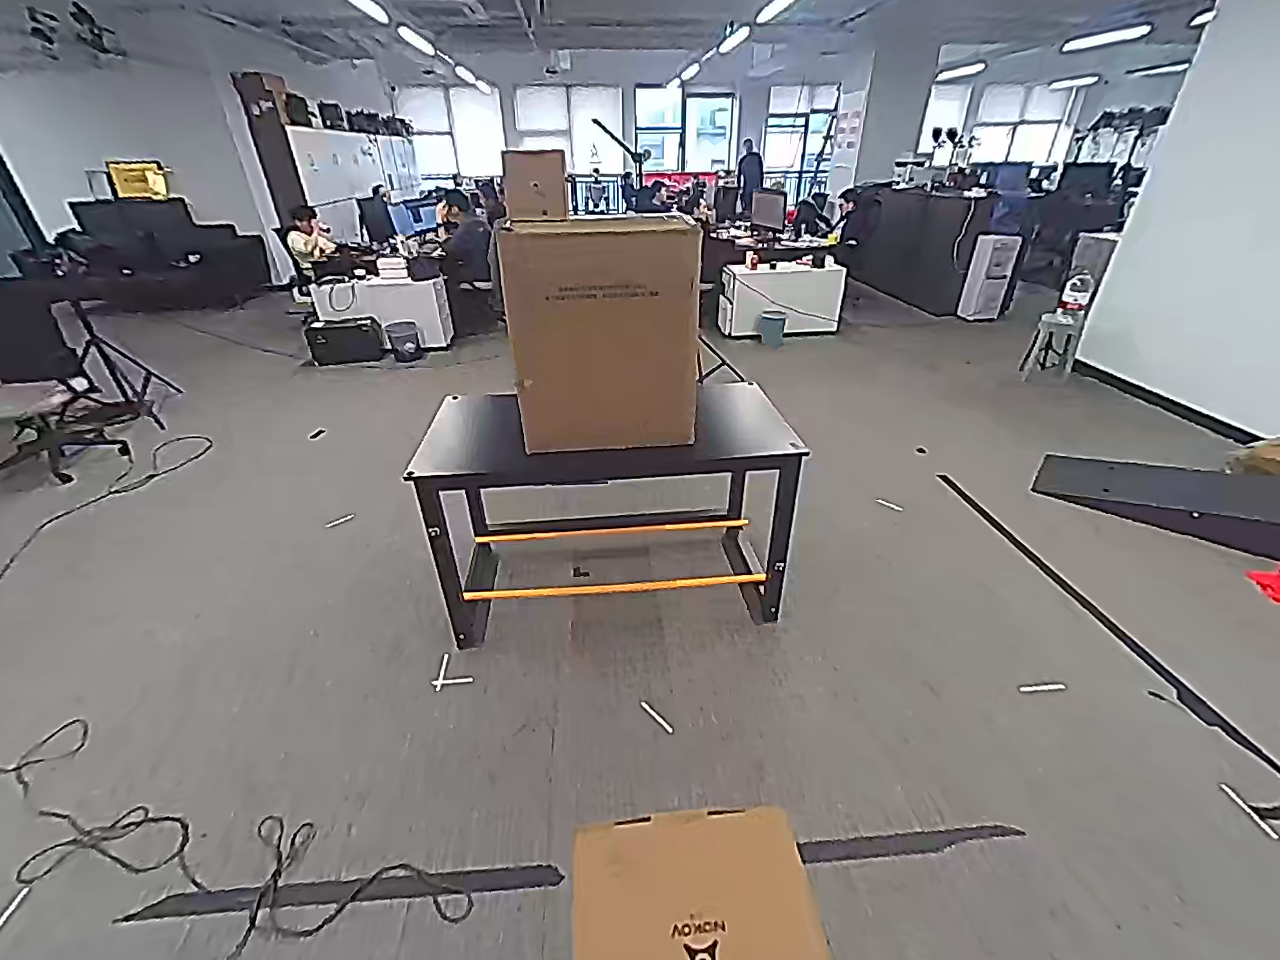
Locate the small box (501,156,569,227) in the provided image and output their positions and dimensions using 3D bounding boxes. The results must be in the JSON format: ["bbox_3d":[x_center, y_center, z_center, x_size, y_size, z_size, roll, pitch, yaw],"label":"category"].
[{"bbox_3d":[-0.289,-0.813,1.524,0.168,0.176,0.179,-3,30,-5],"label":"small box"}]

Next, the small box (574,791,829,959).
[{"bbox_3d":[0.036,0.366,0.398,0.168,0.176,0.179,-2,32,-5],"label":"small box"}]
